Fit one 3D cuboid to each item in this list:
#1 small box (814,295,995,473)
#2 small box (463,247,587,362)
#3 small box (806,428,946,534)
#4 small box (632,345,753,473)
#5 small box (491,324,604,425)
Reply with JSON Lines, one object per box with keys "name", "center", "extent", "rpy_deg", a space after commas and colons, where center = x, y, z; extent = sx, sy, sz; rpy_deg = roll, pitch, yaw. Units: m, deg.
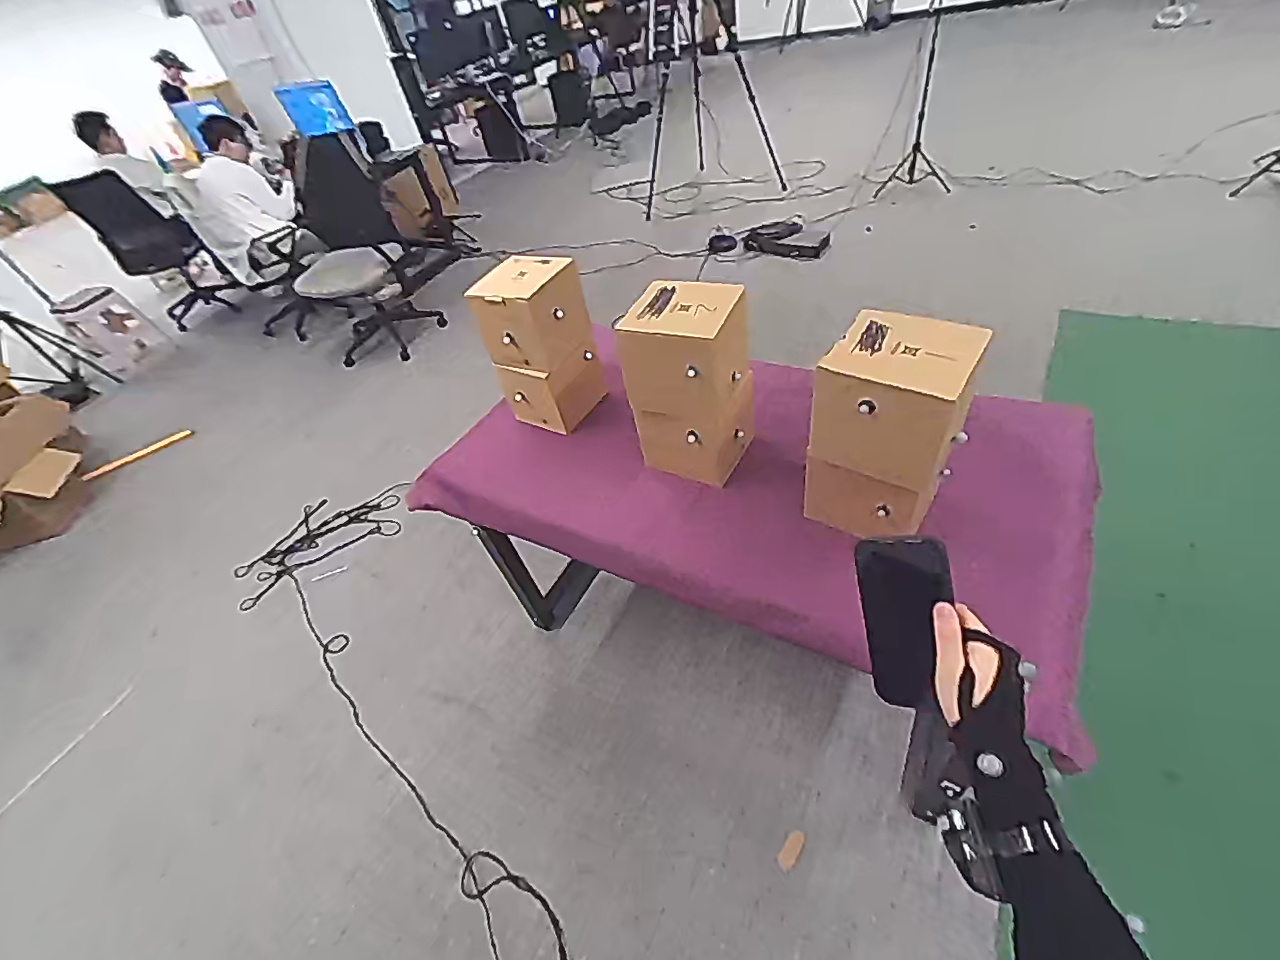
{"name": "small box", "center": [0.361, -0.136, 0.765], "extent": [0.179, 0.176, 0.168], "rpy_deg": [23, 56, 31]}
{"name": "small box", "center": [-0.231, -0.371, 1.145], "extent": [0.168, 0.176, 0.179], "rpy_deg": [14, 52, 25]}
{"name": "small box", "center": [0.392, -0.037, 0.893], "extent": [0.179, 0.176, 0.168], "rpy_deg": [23, 56, 32]}
{"name": "small box", "center": [0.113, -0.137, 1.060], "extent": [0.179, 0.176, 0.168], "rpy_deg": [17, 53, 28]}
{"name": "small box", "center": [-0.205, -0.253, 1.257], "extent": [0.168, 0.176, 0.179], "rpy_deg": [18, 54, 29]}
